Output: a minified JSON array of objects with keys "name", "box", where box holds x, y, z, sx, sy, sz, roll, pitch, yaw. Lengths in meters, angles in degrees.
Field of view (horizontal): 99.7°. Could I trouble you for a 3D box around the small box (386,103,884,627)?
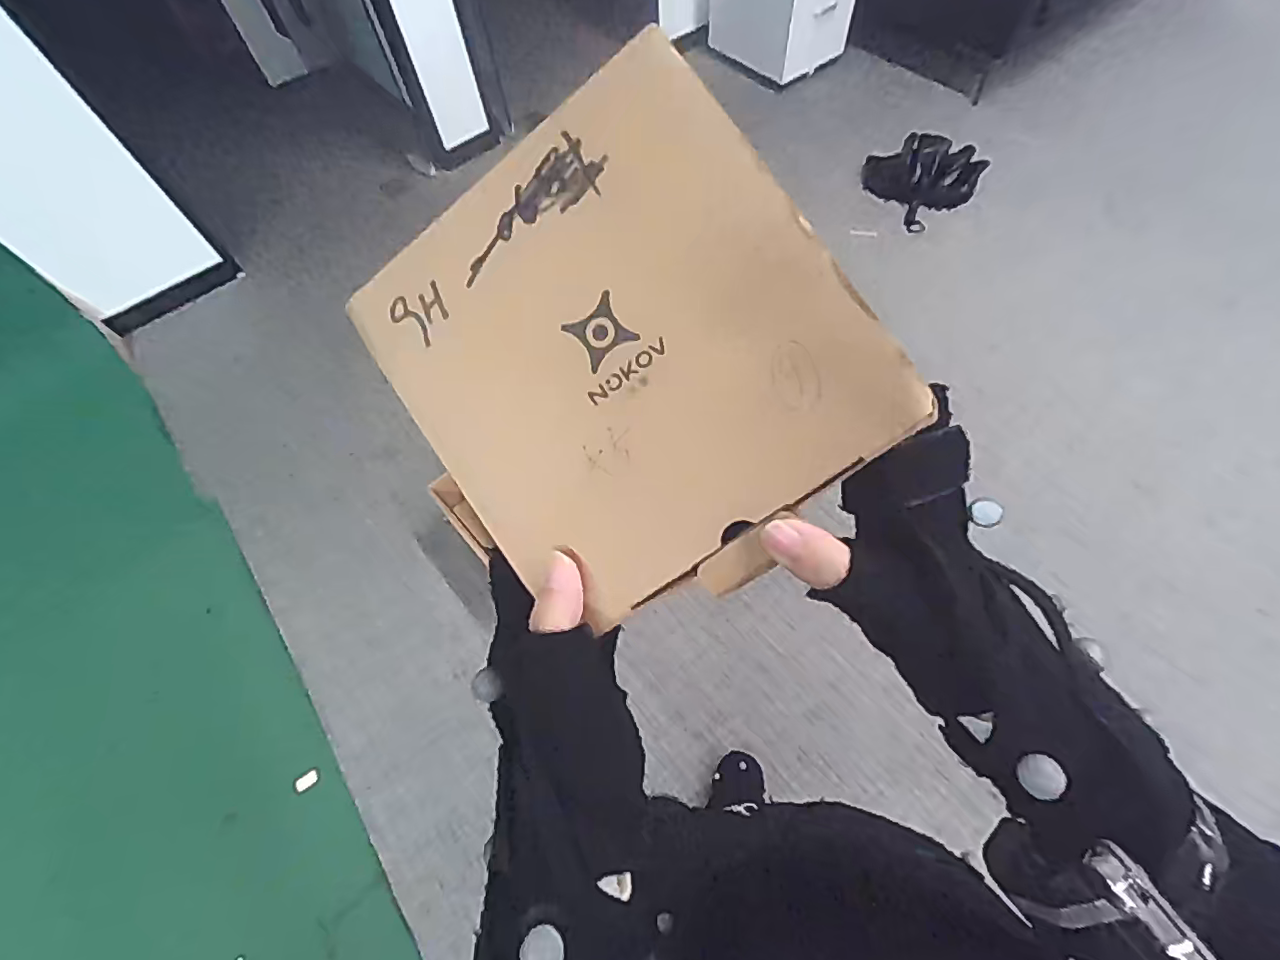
[{"name":"small box","box":[0.006,-0.051,0.317,0.168,0.176,0.179,-38,85,12]}]
